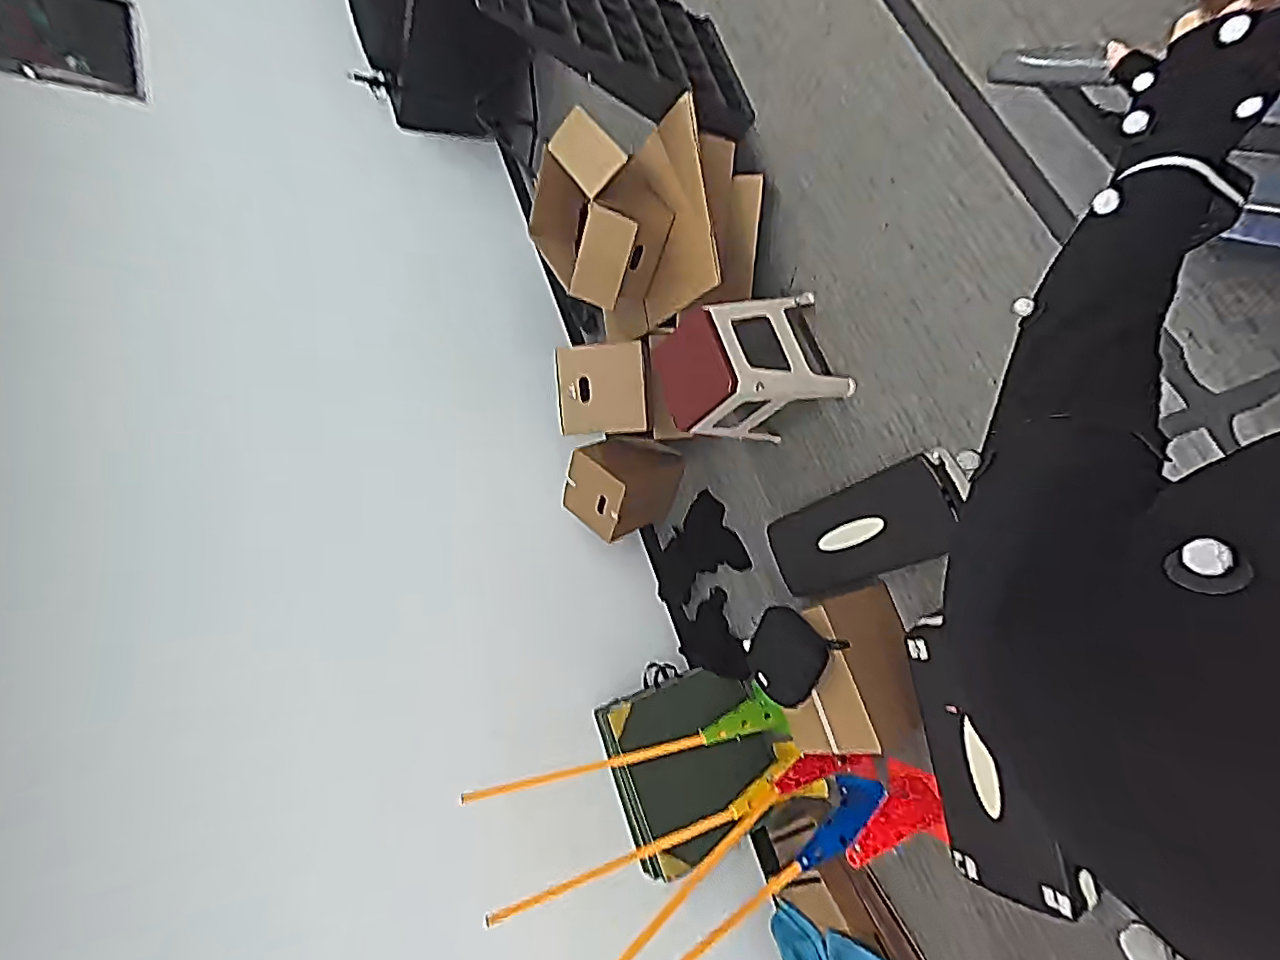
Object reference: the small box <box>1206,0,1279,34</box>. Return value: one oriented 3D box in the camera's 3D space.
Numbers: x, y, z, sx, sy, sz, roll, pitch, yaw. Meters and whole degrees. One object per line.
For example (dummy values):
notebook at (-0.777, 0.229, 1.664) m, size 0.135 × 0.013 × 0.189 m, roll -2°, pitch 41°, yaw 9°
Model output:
small box at (0.932, -0.738, 0.739) m, size 0.179 × 0.176 × 0.168 m, roll 46°, pitch 132°, yaw 39°
